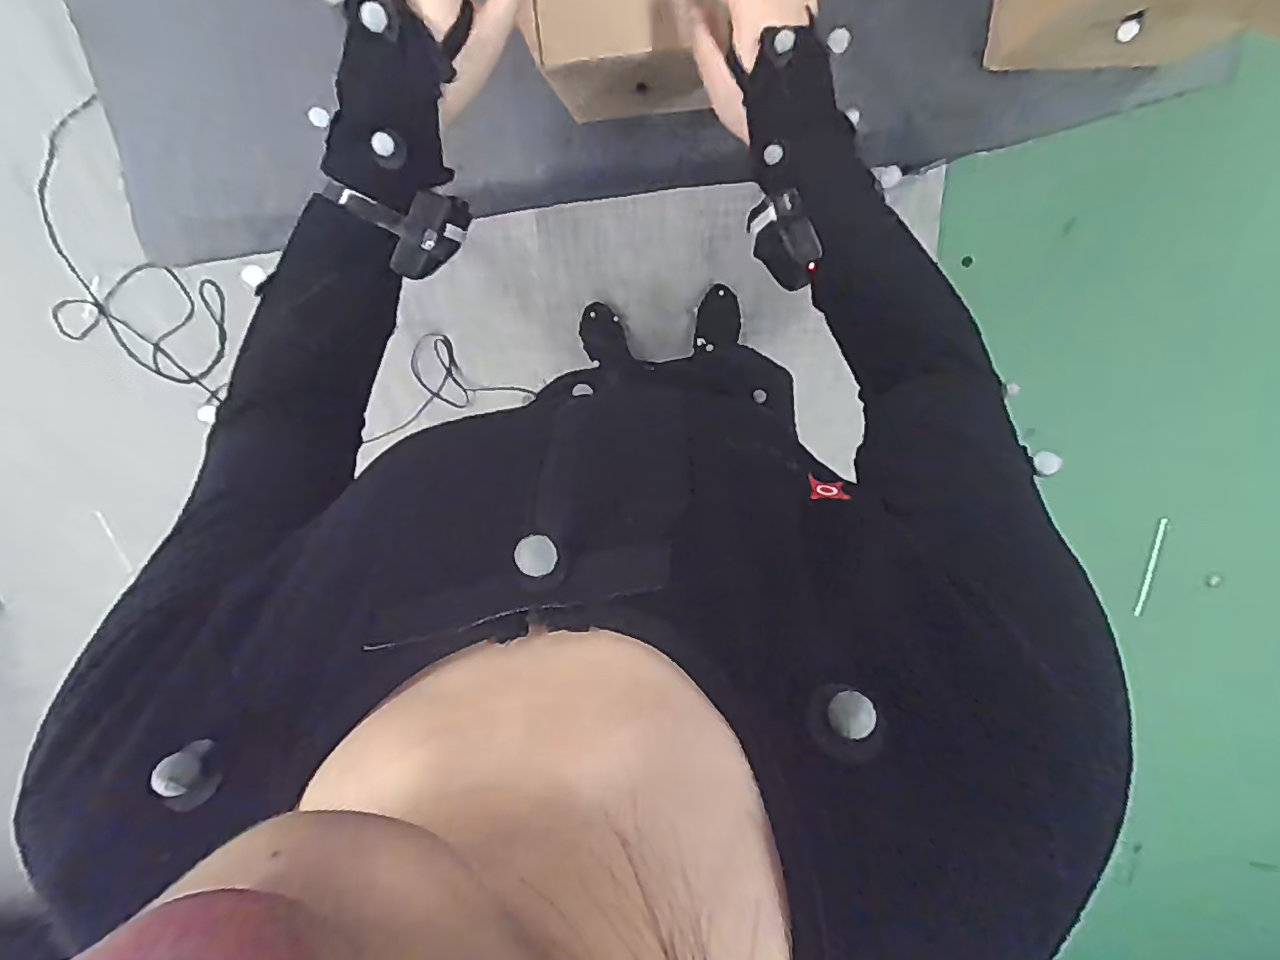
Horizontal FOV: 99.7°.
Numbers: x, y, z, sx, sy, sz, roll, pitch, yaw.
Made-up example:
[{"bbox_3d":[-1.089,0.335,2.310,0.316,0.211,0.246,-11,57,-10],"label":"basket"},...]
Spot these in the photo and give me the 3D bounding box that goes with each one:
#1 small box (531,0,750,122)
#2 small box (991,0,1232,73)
[{"bbox_3d":[0.004,-0.444,0.487,0.179,0.176,0.168,-1,110,7],"label":"small box"},{"bbox_3d":[0.426,-0.459,0.439,0.179,0.176,0.168,2,109,5],"label":"small box"}]
